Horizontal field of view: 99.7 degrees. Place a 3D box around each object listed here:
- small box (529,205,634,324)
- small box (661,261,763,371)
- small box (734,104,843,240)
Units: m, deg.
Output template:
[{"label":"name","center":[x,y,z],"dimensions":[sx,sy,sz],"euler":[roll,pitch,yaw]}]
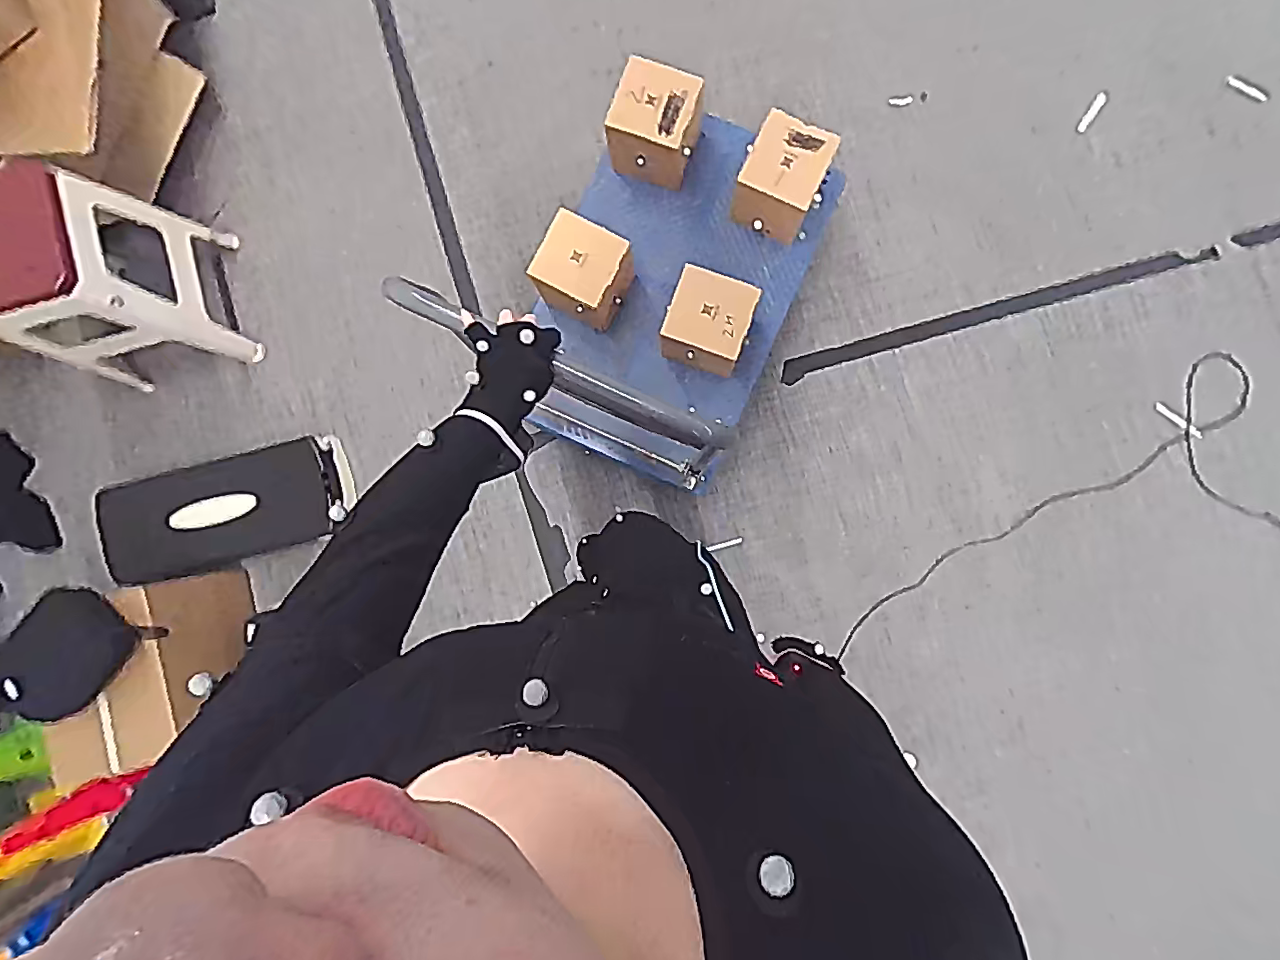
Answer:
[{"label":"small box","center":[-0.126,-0.484,1.245],"dimensions":[0.179,0.176,0.168],"euler":[27,90,2]},{"label":"small box","center":[0.157,-0.362,1.227],"dimensions":[0.179,0.176,0.168],"euler":[21,90,3]},{"label":"small box","center":[0.324,-0.687,1.225],"dimensions":[0.168,0.176,0.179],"euler":[26,91,3]}]
